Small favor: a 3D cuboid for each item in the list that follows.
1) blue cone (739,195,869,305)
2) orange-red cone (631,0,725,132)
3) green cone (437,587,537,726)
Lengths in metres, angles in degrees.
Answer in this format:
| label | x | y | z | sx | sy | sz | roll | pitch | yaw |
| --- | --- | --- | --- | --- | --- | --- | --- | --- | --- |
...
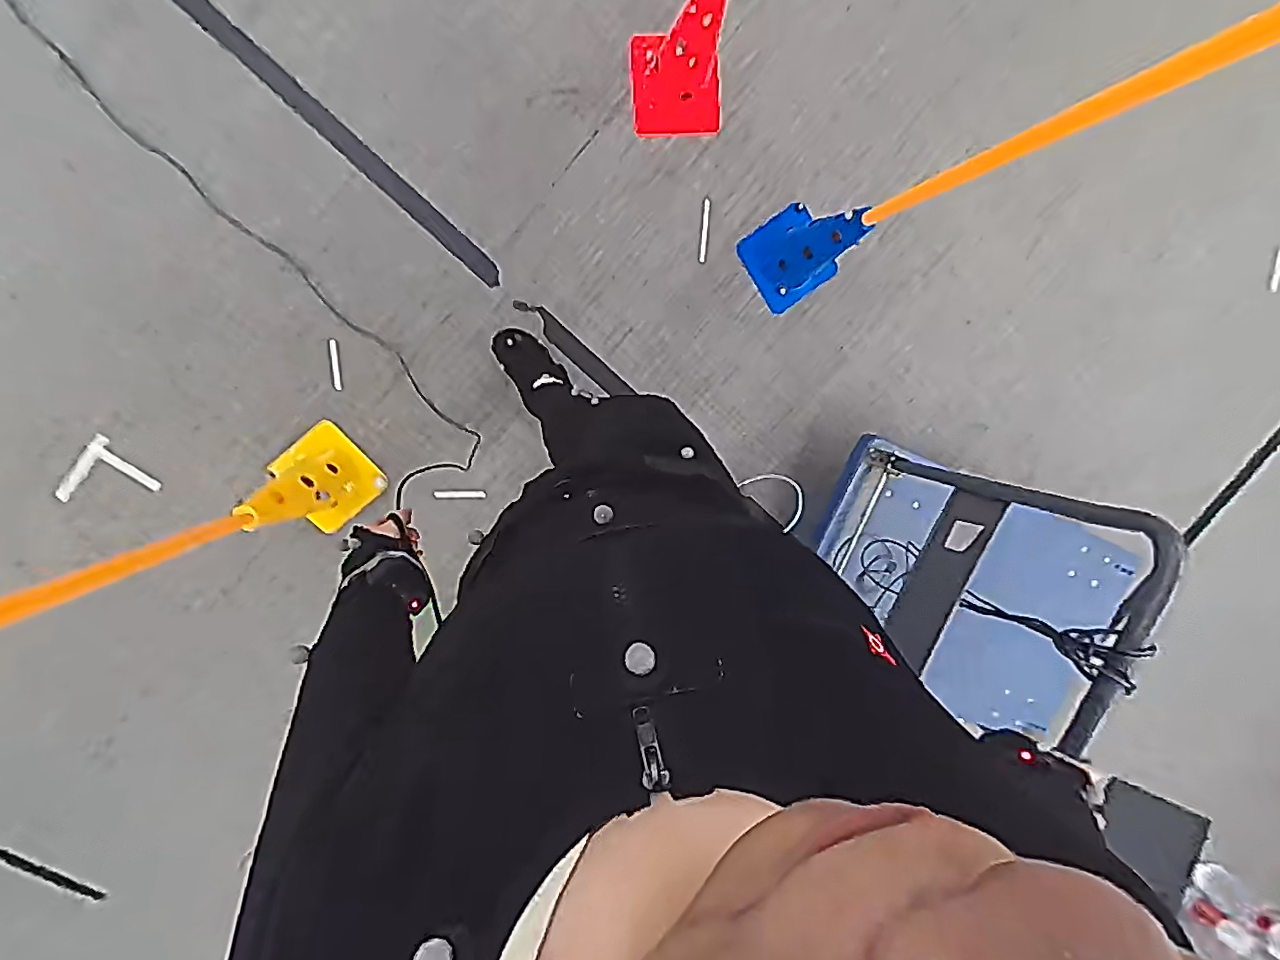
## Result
| label | x | y | z | sx | sy | sz | roll | pitch | yaw |
| --- | --- | --- | --- | --- | --- | --- | --- | --- | --- |
| blue cone | 0.373 | -0.511 | 1.141 | 0.193 | 0.380 | 0.192 | -35 | 103 | -1 |
| orange-red cone | 0.102 | -0.842 | 1.024 | 0.198 | 0.360 | 0.199 | -5 | 103 | -7 |
| green cone | -0.361 | 0.414 | 1.189 | 0.202 | 0.368 | 0.200 | 26 | 96 | -11 |
